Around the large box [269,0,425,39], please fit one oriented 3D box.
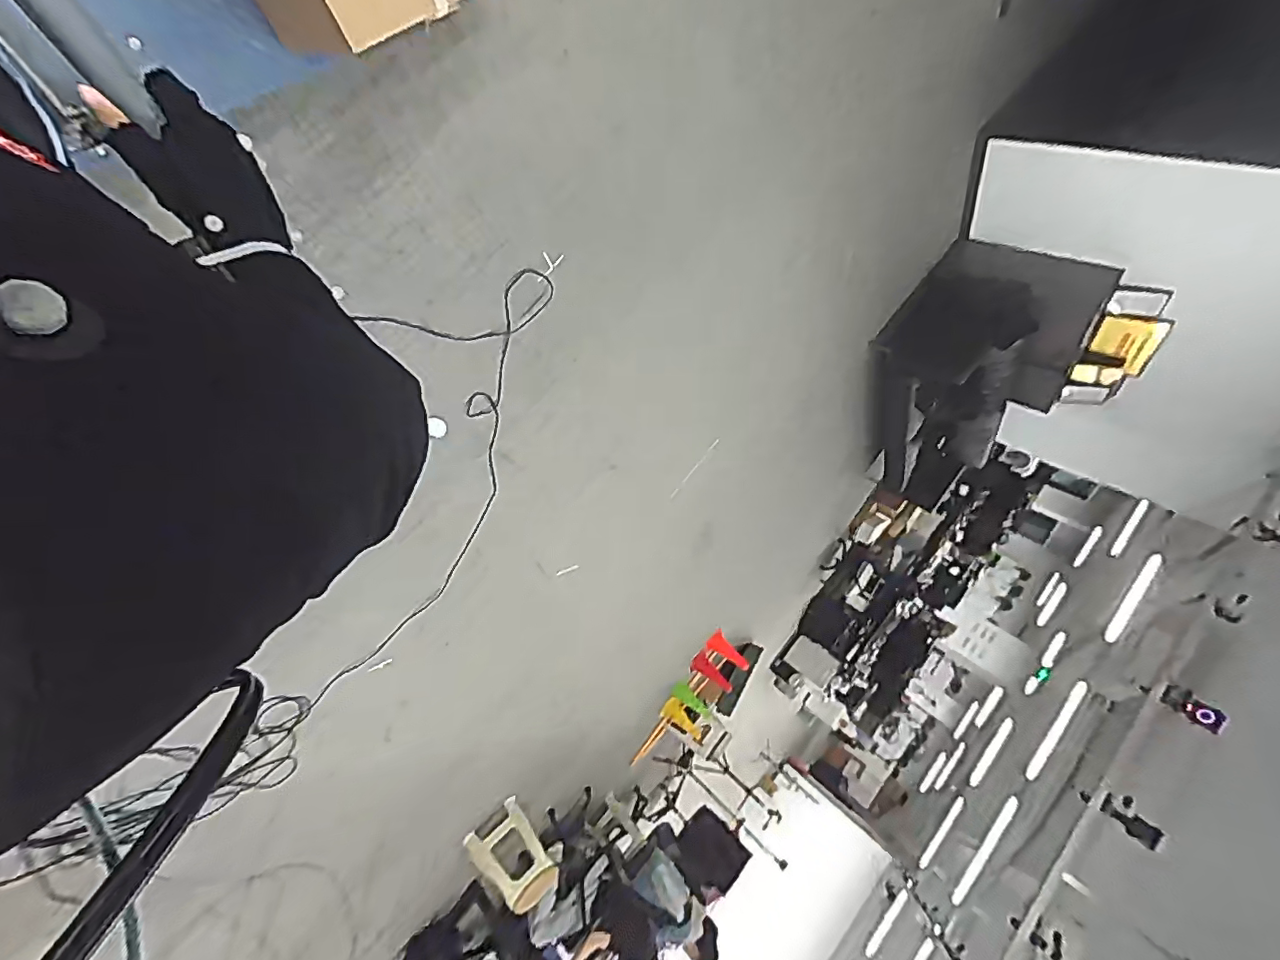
[{"bbox_3d":[-0.453,-0.914,0.742,0.320,0.320,0.408,-45,144,-17],"label":"large box"}]
